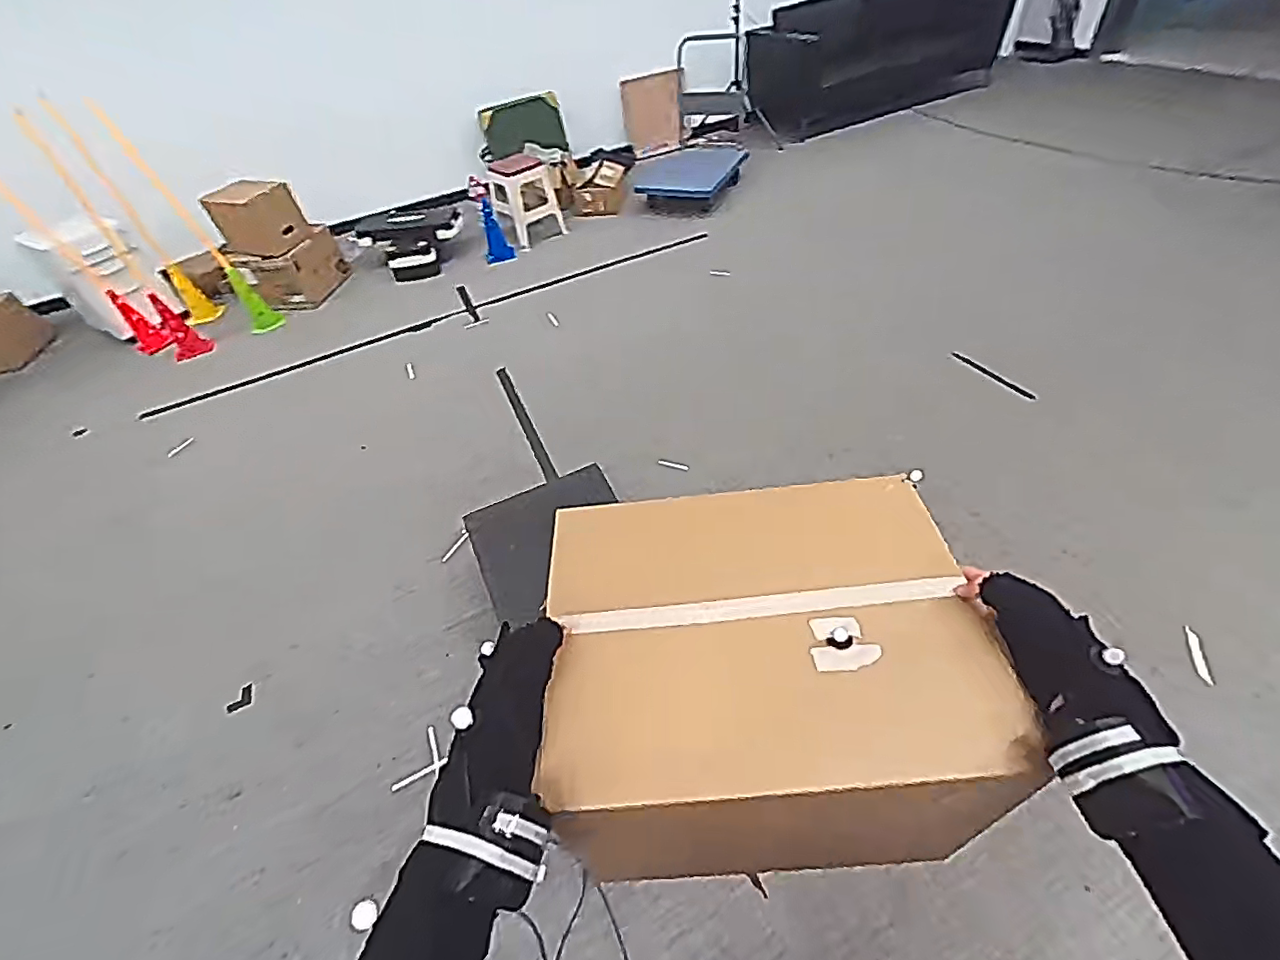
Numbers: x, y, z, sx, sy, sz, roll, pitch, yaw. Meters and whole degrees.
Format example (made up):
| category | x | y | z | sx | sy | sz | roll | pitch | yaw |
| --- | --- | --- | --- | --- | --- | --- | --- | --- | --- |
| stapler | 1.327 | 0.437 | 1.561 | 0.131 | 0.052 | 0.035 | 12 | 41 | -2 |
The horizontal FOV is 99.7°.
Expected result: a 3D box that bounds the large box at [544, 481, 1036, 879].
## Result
| category | x | y | z | sx | sy | sz | roll | pitch | yaw |
| --- | --- | --- | --- | --- | --- | --- | --- | --- | --- |
| large box | 0.122 | 0.236 | 0.637 | 0.408 | 0.320 | 0.320 | -7 | 45 | 2 |
